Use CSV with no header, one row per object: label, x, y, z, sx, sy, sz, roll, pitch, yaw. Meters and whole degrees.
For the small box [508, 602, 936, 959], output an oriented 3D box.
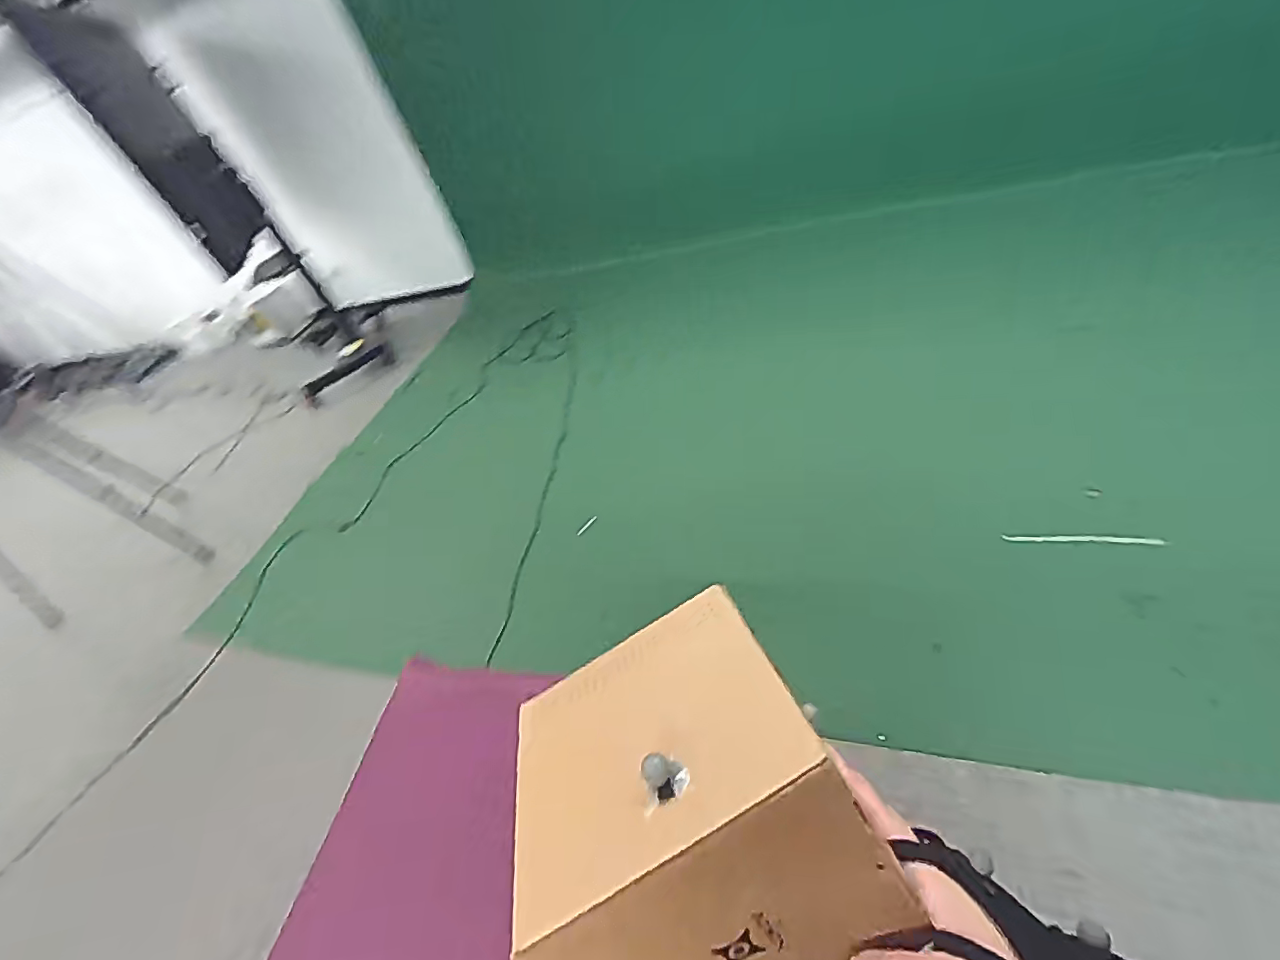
small box,0.039,0.216,0.349,0.179,0.168,0.176,-32,20,1
